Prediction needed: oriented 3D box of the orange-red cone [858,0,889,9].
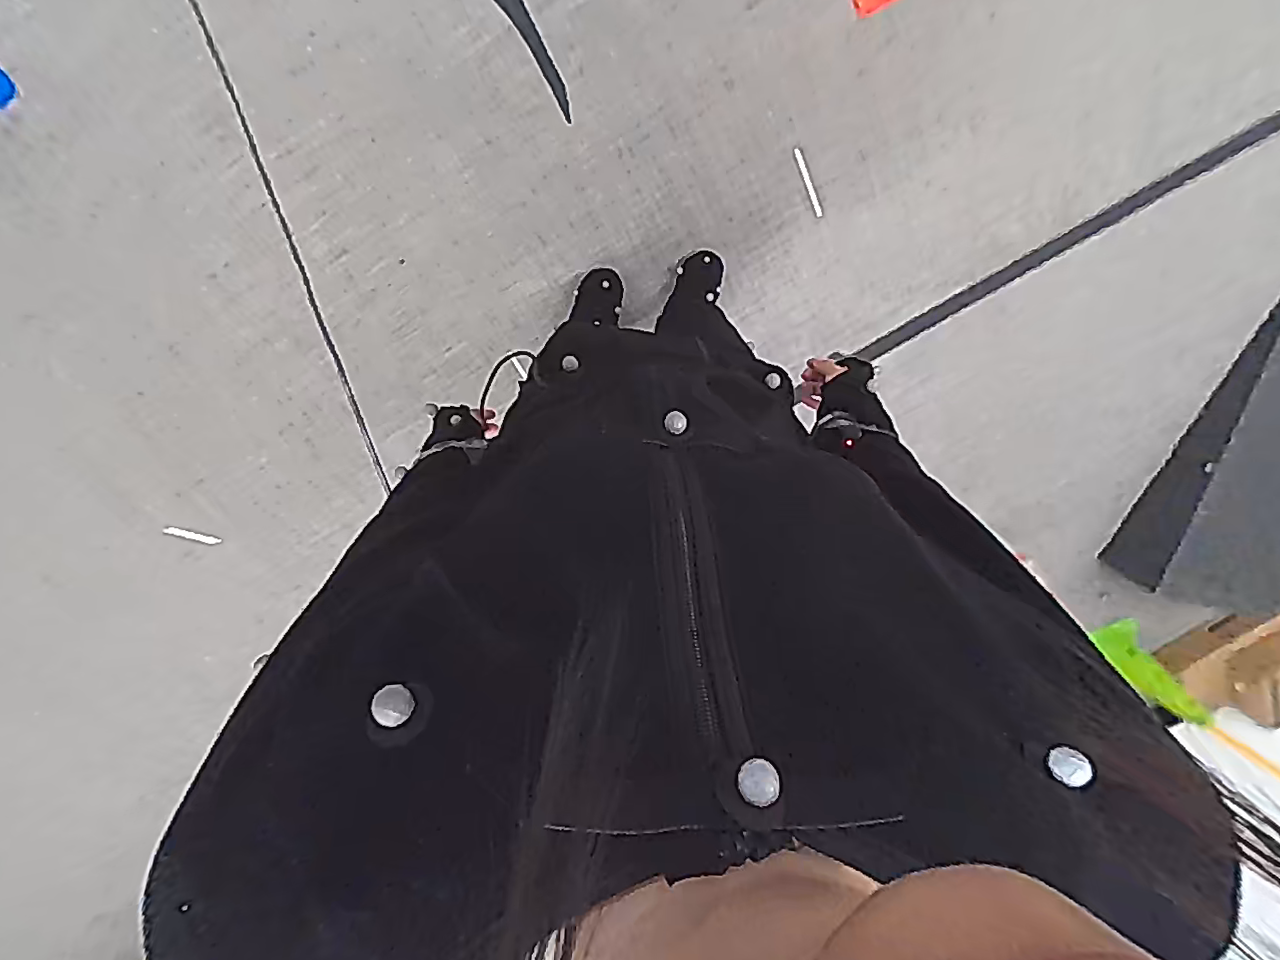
[{"bbox_3d":[0.510,-0.989,0.889,0.198,0.360,0.199,-25,115,7],"label":"orange-red cone"}]
